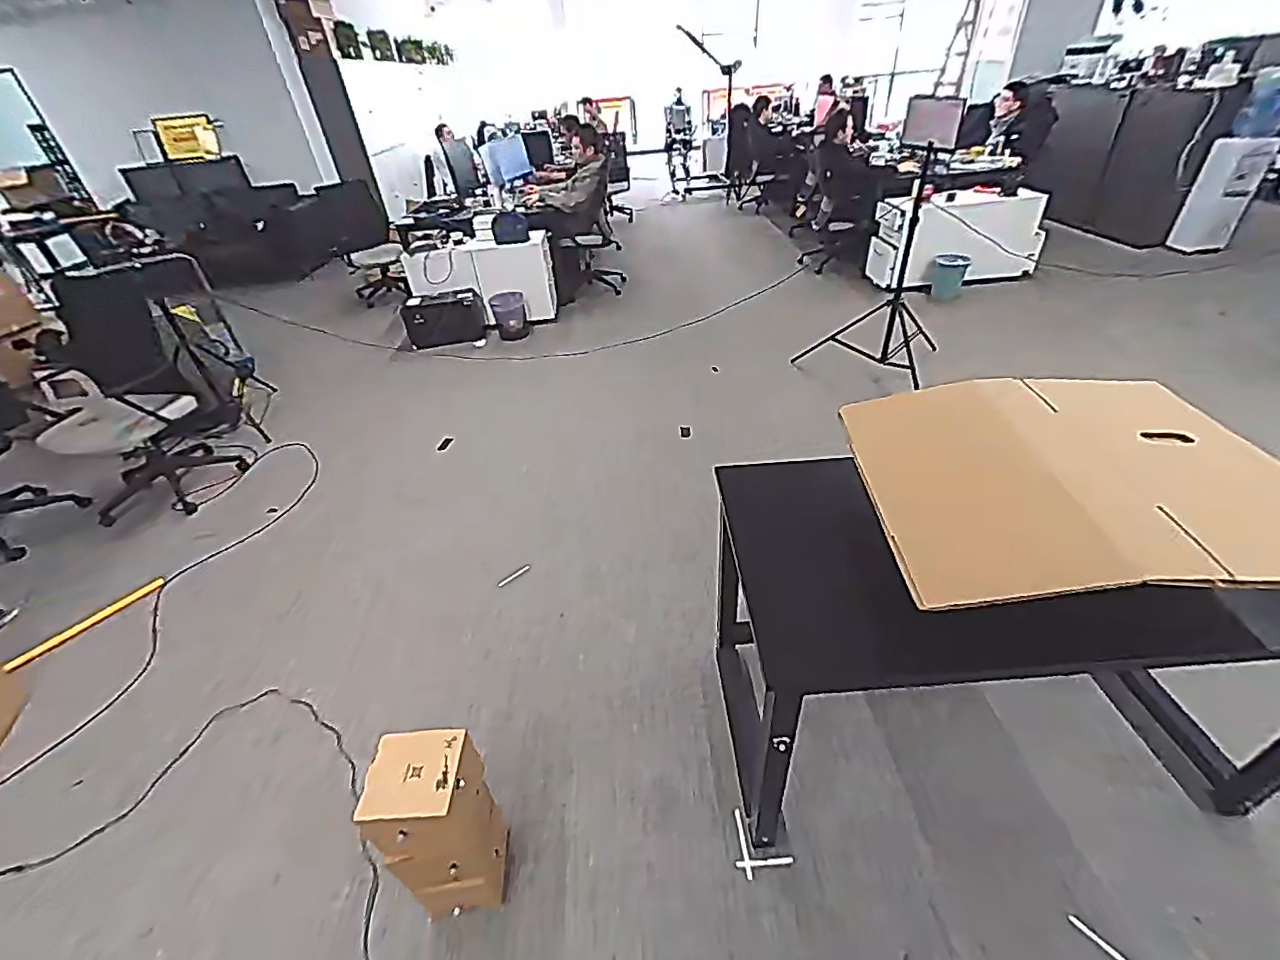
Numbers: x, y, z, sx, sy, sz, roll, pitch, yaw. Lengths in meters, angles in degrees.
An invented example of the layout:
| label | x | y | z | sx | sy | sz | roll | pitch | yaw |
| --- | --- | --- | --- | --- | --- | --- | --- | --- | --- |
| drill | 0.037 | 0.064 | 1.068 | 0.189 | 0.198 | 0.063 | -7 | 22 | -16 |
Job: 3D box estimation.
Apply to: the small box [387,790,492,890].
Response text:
| label | x | y | z | sx | sy | sz | roll | pitch | yaw |
| --- | --- | --- | --- | --- | --- | --- | --- | --- | --- |
| small box | -0.428 | 0.766 | 1.187 | 0.168 | 0.176 | 0.179 | -8 | 35 | -6 |

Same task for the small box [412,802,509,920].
| label | x | y | z | sx | sy | sz | roll | pitch | yaw |
| --- | --- | --- | --- | --- | --- | --- | --- | --- | --- |
| small box | -0.413 | 0.899 | 1.277 | 0.168 | 0.176 | 0.179 | -7 | 37 | -2 |

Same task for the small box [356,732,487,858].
| label | x | y | z | sx | sy | sz | roll | pitch | yaw |
| --- | --- | --- | --- | --- | --- | --- | --- | --- | --- |
| small box | -0.426 | 0.634 | 1.088 | 0.179 | 0.176 | 0.168 | -5 | 36 | 1 |
